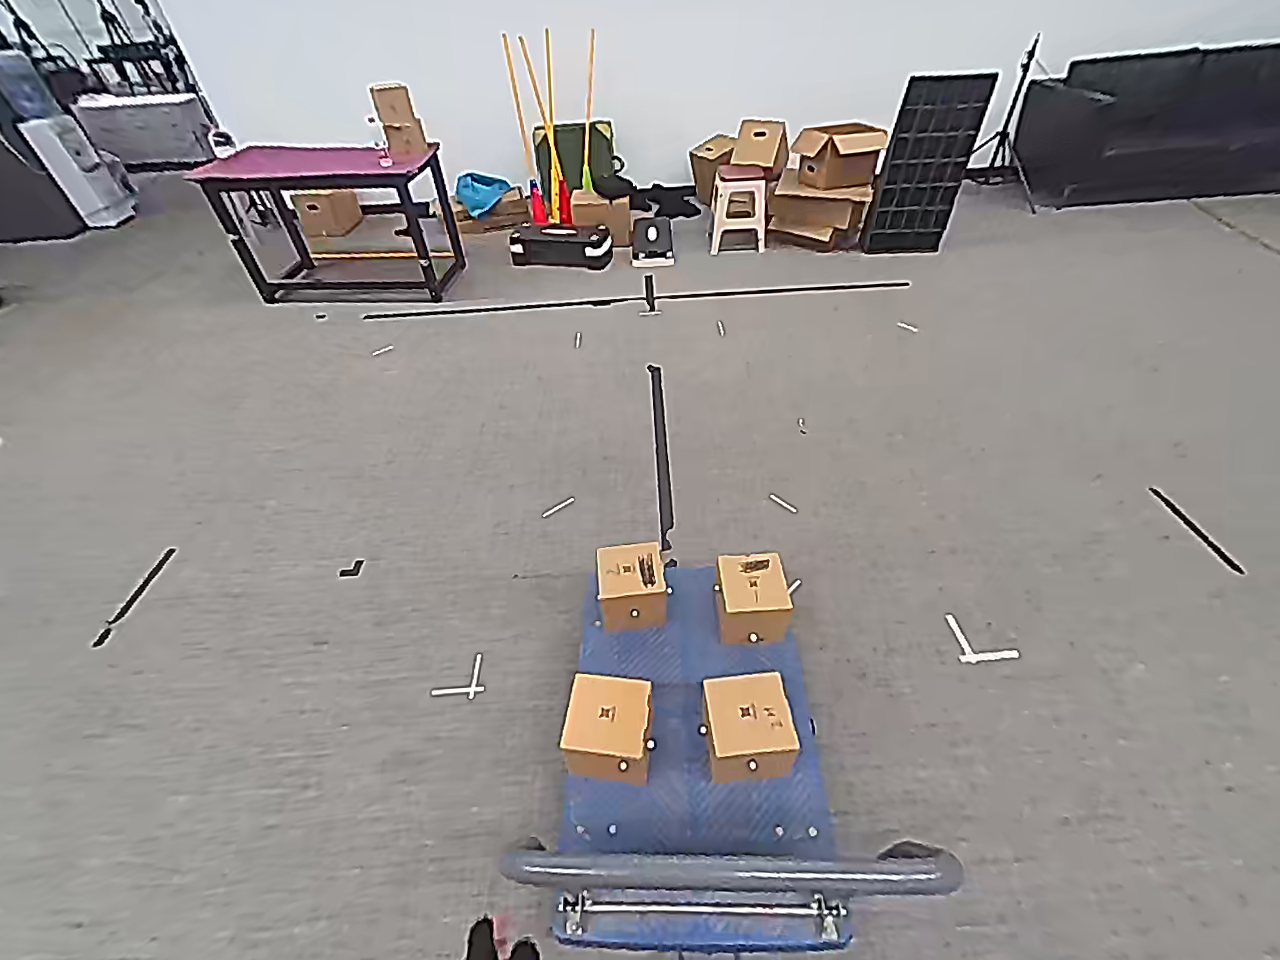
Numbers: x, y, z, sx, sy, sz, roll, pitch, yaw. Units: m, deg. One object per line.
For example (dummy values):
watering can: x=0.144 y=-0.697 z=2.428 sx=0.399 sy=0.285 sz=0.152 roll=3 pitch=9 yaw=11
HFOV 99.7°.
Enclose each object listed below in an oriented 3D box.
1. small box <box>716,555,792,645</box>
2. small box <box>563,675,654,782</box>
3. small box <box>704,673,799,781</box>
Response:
small box: x=0.298 y=0.322 z=1.454 sx=0.168 sy=0.176 sz=0.179 roll=-4 pitch=45 yaw=1
small box: x=-0.063 y=0.567 z=1.230 sx=0.179 sy=0.176 sz=0.168 roll=4 pitch=44 yaw=6
small box: x=0.241 y=0.558 z=1.216 sx=0.179 sy=0.176 sz=0.168 roll=-5 pitch=44 yaw=-1
